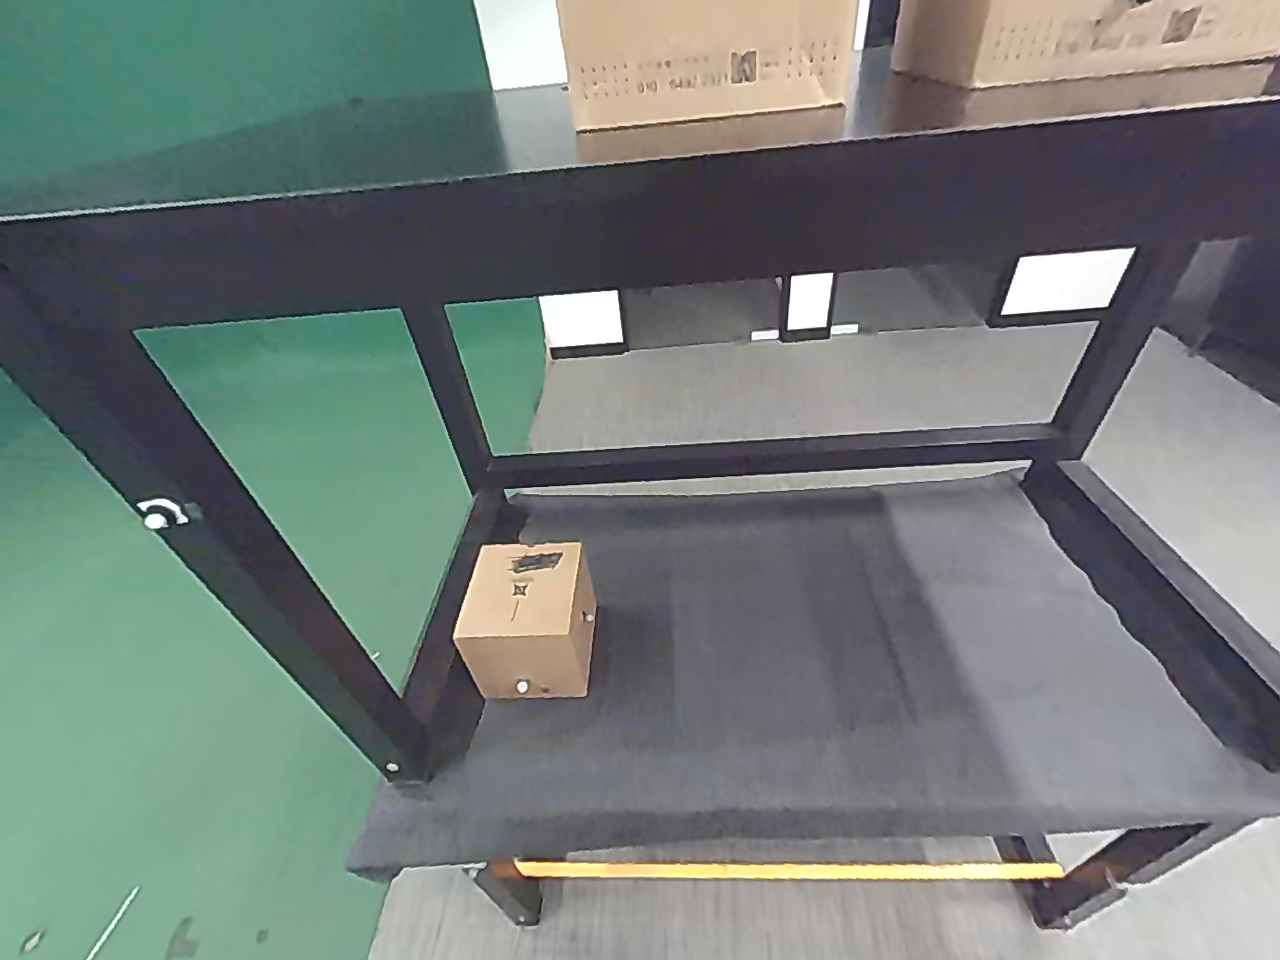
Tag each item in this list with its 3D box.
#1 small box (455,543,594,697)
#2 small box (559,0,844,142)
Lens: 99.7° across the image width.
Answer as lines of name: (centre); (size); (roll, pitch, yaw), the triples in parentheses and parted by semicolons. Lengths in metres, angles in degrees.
small box: (-0.169, 0.221, 0.860); (0.168, 0.176, 0.179); (-3, 40, 4)
small box: (0.037, -0.333, 0.356); (0.168, 0.176, 0.179); (-3, 39, 5)
